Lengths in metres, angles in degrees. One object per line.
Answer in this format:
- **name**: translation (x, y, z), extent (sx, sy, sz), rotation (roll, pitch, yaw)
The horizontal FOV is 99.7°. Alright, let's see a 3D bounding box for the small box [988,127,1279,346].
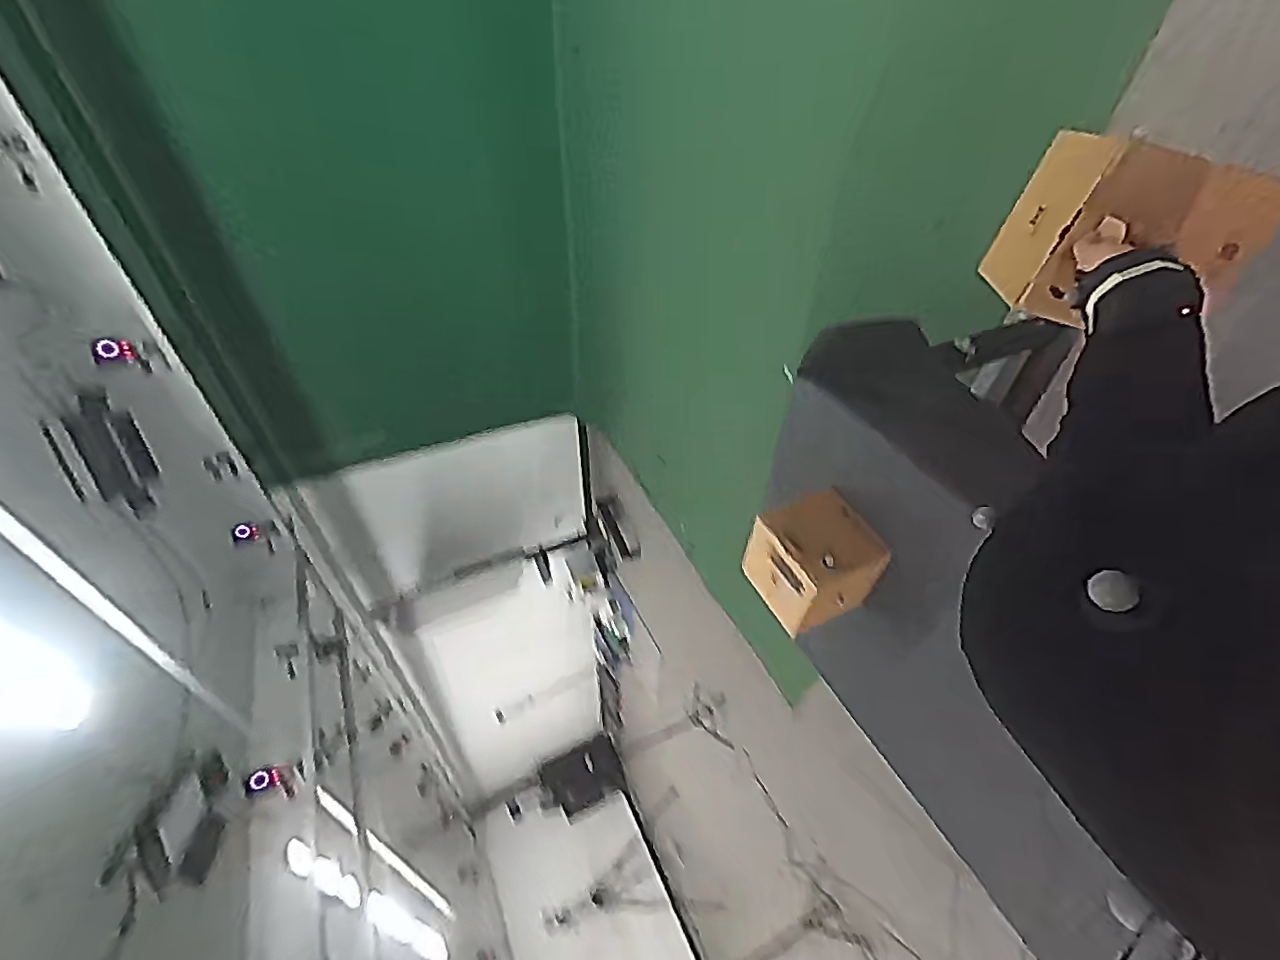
- **small box**: translation (0.536, -0.271, 0.600), extent (0.179, 0.176, 0.168), rotation (-63, -8, -52)
